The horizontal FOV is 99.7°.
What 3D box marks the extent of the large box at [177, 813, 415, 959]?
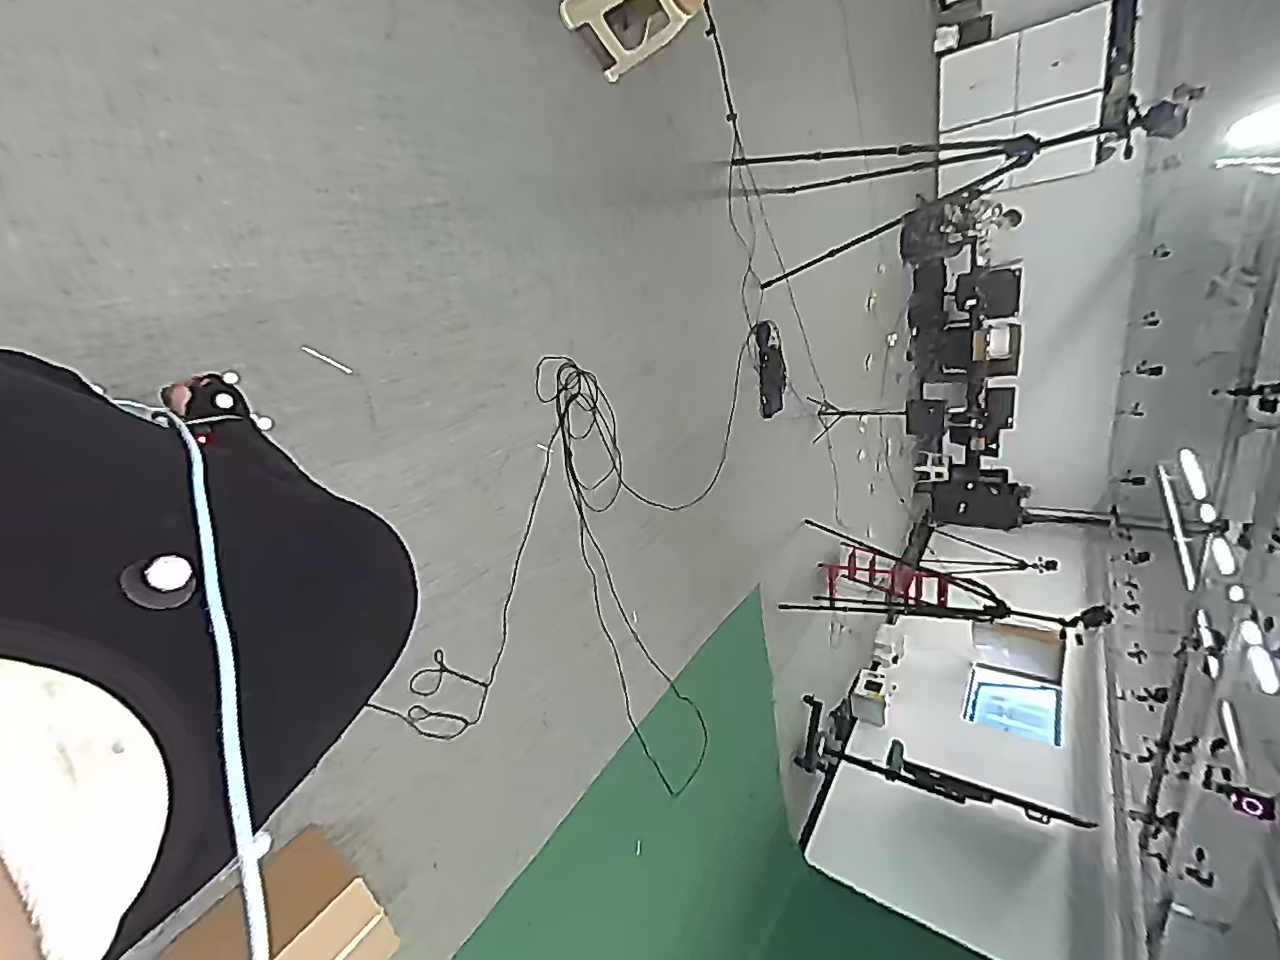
[{"bbox_3d":[-0.916,1.234,1.471,0.408,0.320,0.320,-36,121,-44],"label":"large box"}]
